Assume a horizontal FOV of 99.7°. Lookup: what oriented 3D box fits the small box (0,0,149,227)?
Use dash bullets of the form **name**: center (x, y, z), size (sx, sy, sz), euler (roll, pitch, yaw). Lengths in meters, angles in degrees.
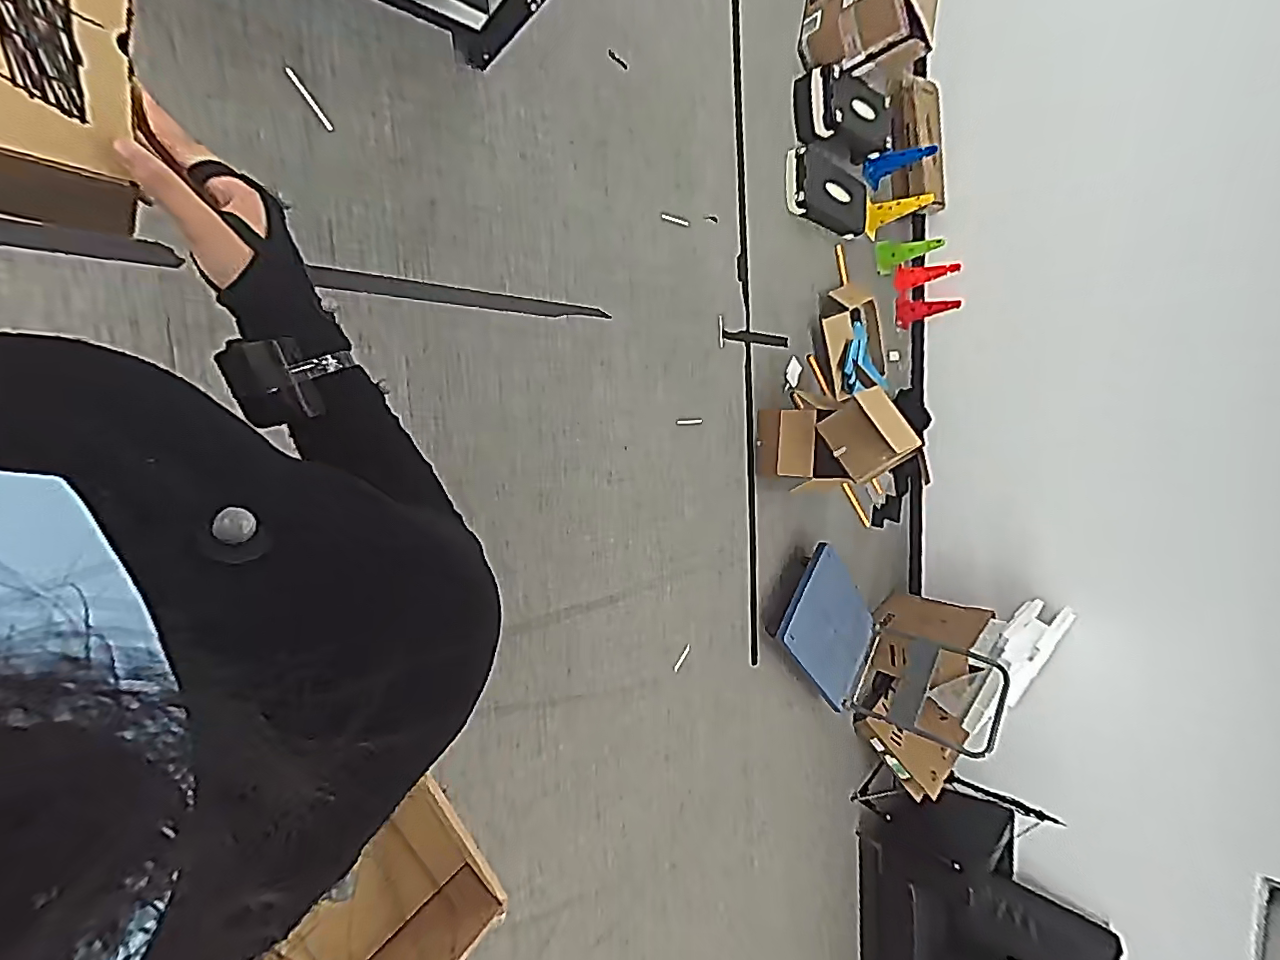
- **small box**: center (-0.429, -0.276, 0.336), size (0.179, 0.176, 0.168), euler (-1, 96, -44)
